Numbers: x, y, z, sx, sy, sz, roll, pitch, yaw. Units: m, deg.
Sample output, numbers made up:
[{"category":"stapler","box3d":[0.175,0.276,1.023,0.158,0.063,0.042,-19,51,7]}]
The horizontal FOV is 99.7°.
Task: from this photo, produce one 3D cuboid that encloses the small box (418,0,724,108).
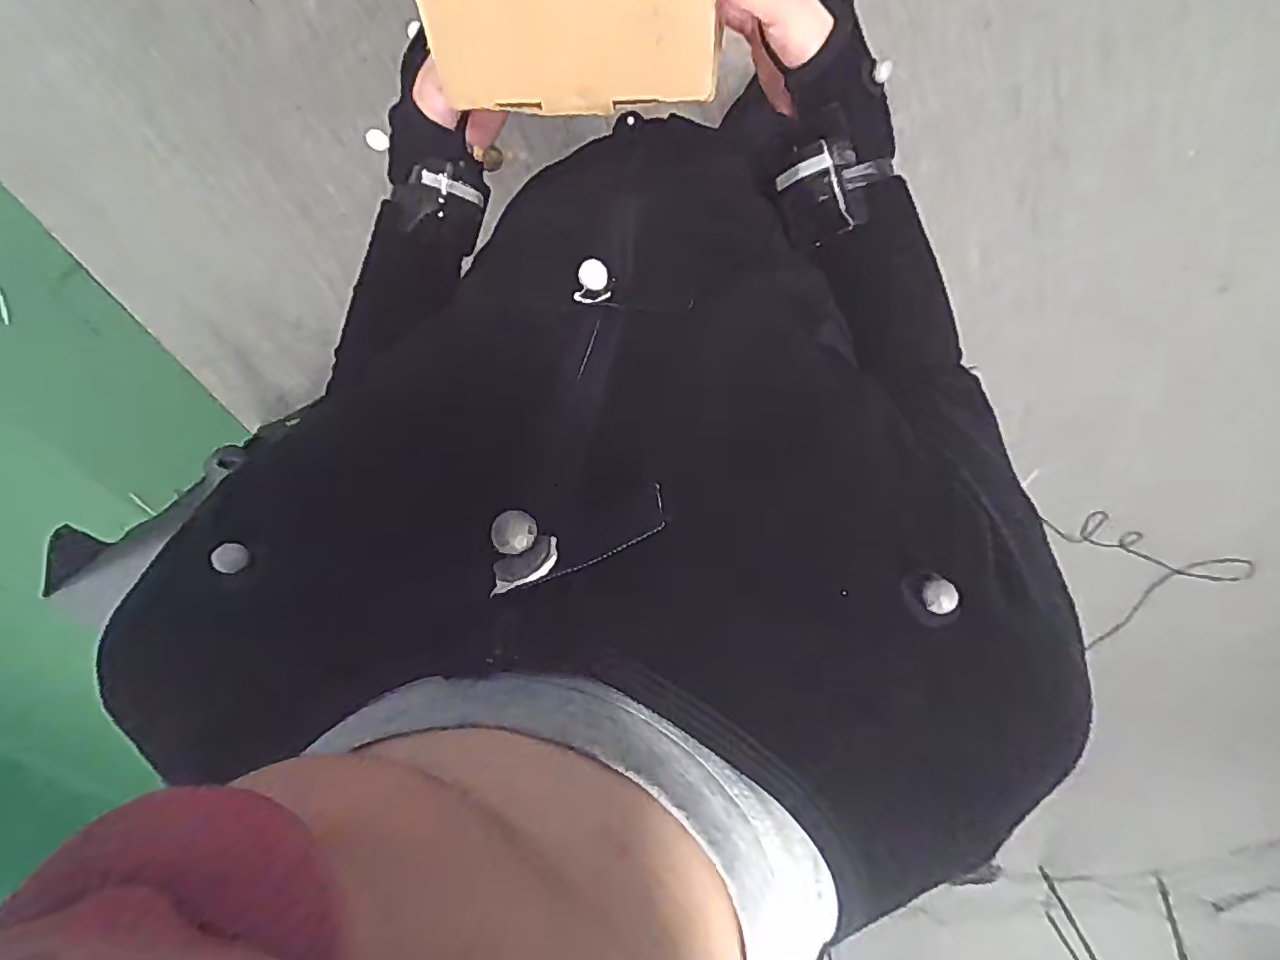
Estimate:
[{"category":"small box","box3d":[-0.033,-0.341,0.308,0.168,0.176,0.179,2,139,7]}]
